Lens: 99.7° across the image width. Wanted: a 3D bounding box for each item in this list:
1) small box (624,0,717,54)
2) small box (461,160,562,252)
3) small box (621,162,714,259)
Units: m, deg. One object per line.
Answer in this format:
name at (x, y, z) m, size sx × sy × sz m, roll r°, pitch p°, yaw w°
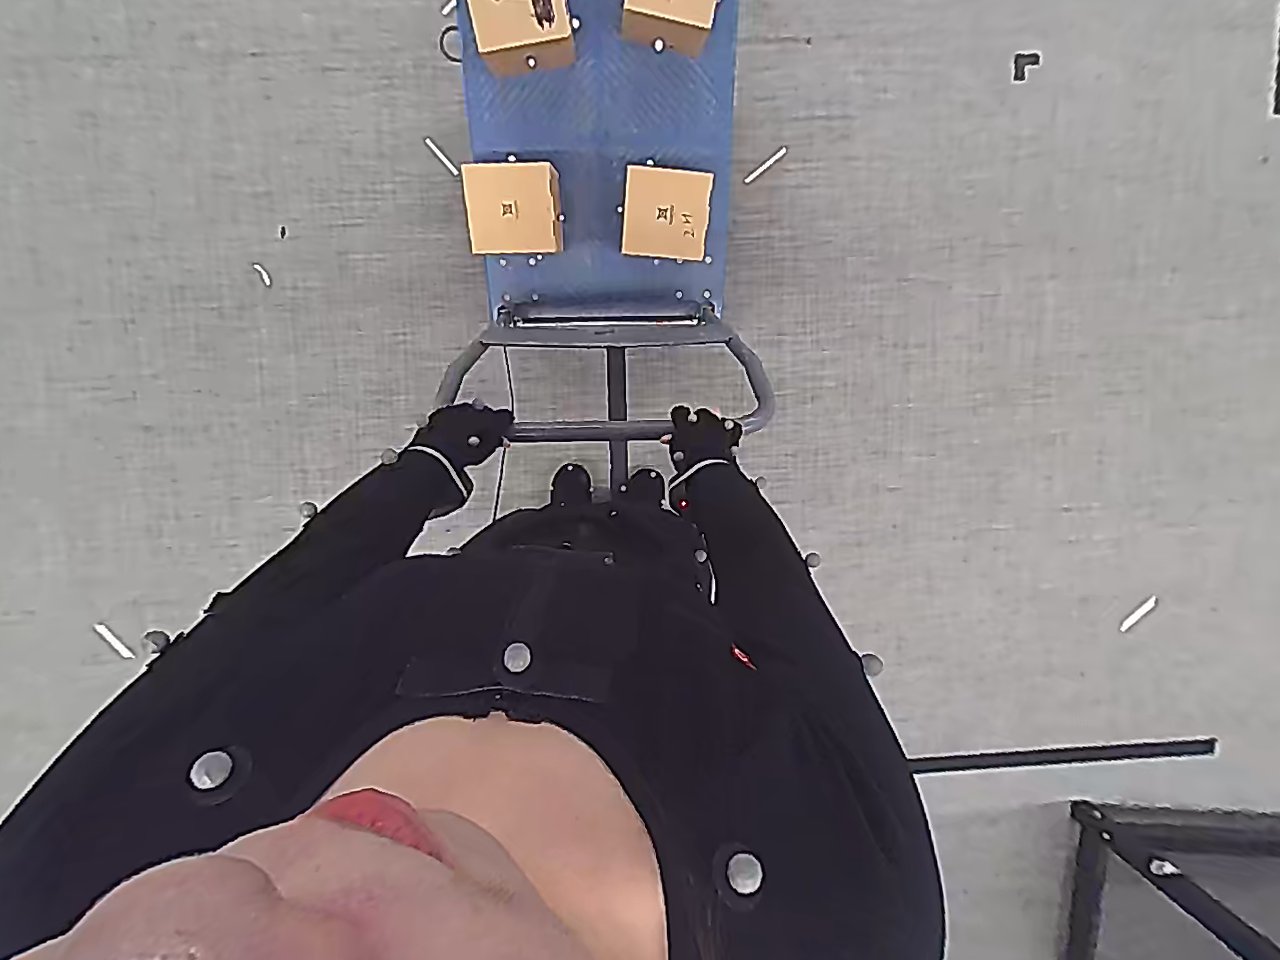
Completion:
small box at (0.063, -0.948, 1.016) m, size 0.168 × 0.176 × 0.179 m, roll 9°, pitch 114°, yaw -6°
small box at (-0.266, -0.581, 1.161) m, size 0.179 × 0.176 × 0.168 m, roll -3°, pitch 113°, yaw -3°
small box at (0.052, -0.577, 1.175) m, size 0.179 × 0.176 × 0.168 m, roll 4°, pitch 114°, yaw -4°
